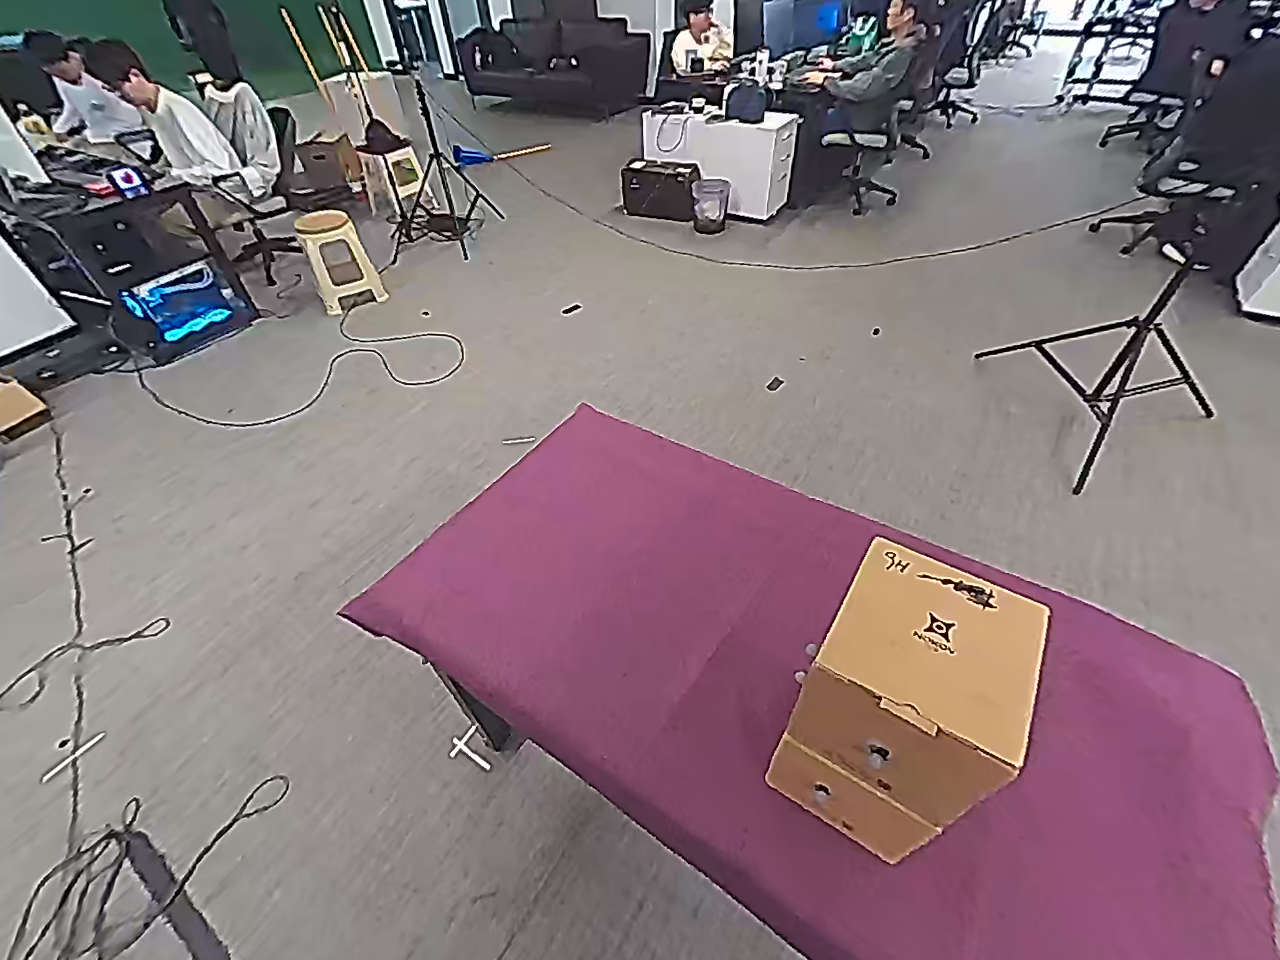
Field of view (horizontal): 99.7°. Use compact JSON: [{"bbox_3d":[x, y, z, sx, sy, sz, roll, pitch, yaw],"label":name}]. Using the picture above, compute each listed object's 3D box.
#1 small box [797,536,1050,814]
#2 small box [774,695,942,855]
[{"bbox_3d":[0.274,0.197,0.551,0.168,0.176,0.179,25,51,25],"label":"small box"},{"bbox_3d":[0.276,0.315,0.664,0.168,0.176,0.179,24,50,25],"label":"small box"}]
